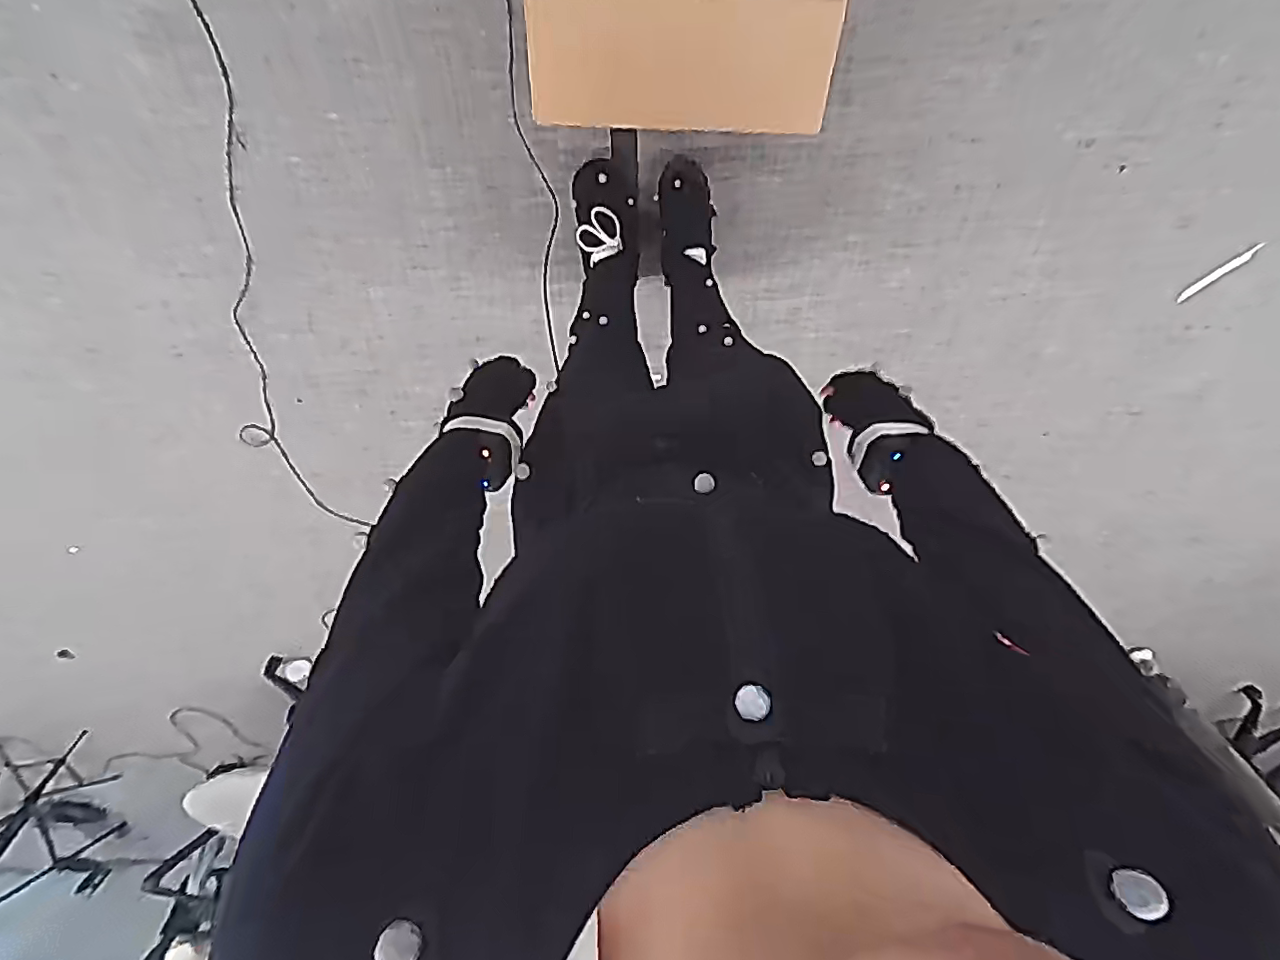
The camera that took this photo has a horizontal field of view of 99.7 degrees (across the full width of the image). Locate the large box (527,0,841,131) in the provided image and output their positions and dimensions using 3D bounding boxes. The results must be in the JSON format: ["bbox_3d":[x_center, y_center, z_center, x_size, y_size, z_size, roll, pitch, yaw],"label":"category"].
[{"bbox_3d":[0.051,-0.709,0.779,0.408,0.320,0.320,1,131,-2],"label":"large box"}]
